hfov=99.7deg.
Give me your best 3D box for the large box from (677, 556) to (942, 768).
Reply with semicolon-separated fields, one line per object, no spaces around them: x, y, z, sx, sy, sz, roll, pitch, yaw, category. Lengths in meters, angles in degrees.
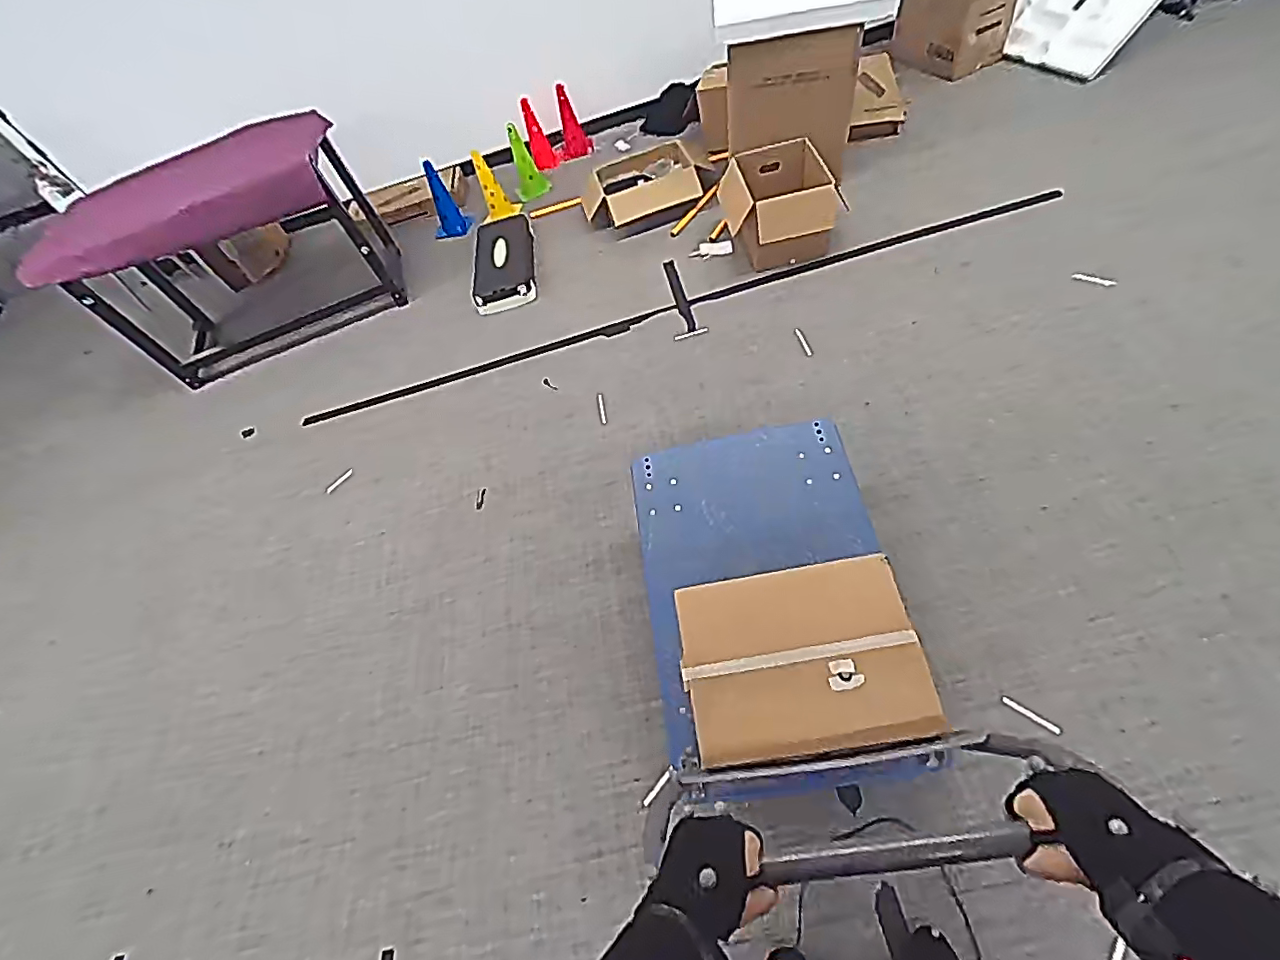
0.310;0.386;1.105;0.408;0.320;0.320;-11;62;5;large box
